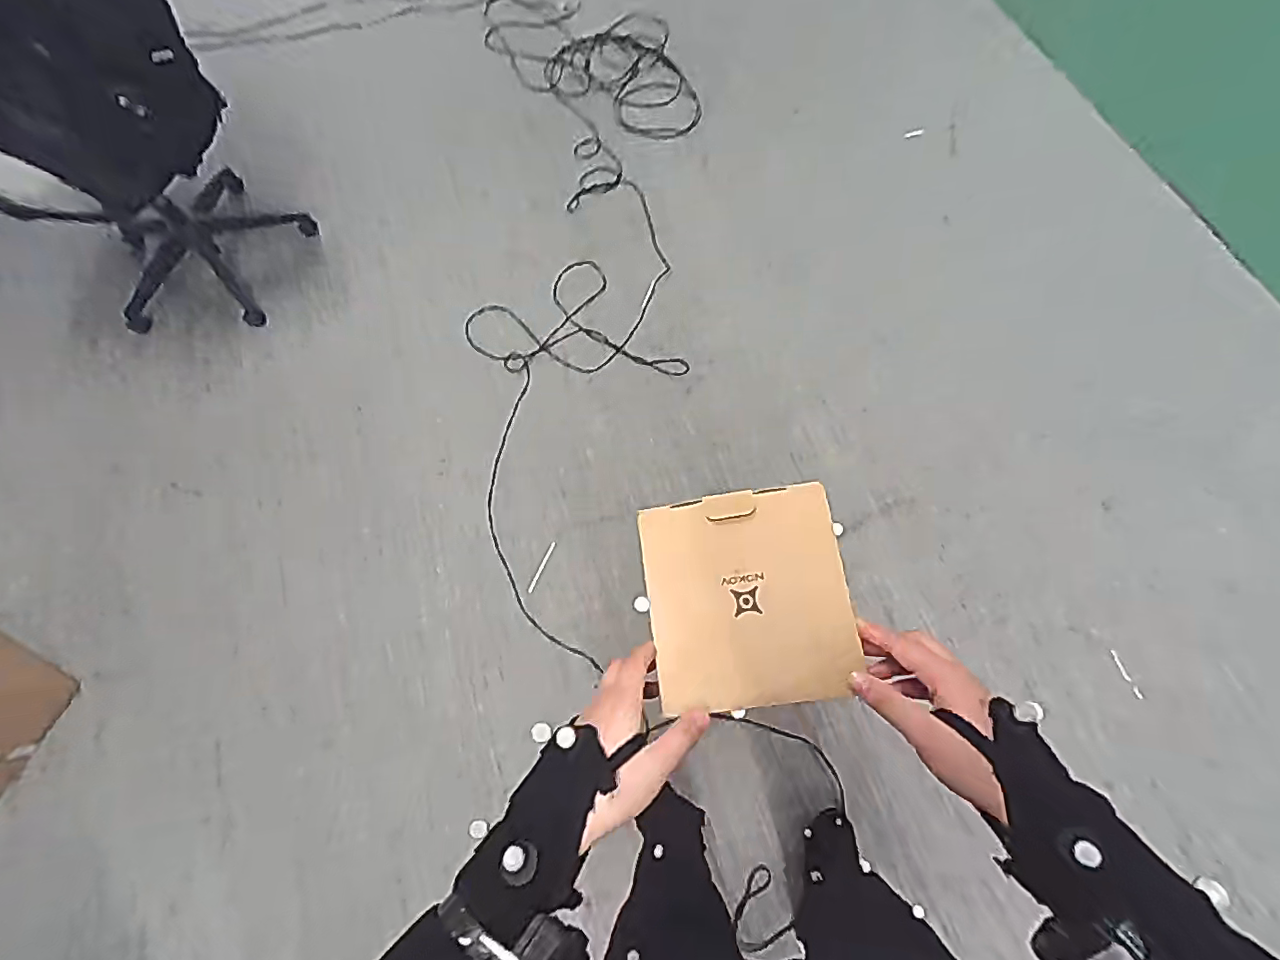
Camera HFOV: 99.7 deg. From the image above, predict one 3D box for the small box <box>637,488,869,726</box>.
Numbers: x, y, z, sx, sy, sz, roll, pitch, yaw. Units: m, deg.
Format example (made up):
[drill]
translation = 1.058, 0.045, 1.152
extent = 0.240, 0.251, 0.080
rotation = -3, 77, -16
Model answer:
[small box]
translation = 0.100, 0.122, 0.517
extent = 0.168, 0.176, 0.179
rotation = -10, 72, 7
